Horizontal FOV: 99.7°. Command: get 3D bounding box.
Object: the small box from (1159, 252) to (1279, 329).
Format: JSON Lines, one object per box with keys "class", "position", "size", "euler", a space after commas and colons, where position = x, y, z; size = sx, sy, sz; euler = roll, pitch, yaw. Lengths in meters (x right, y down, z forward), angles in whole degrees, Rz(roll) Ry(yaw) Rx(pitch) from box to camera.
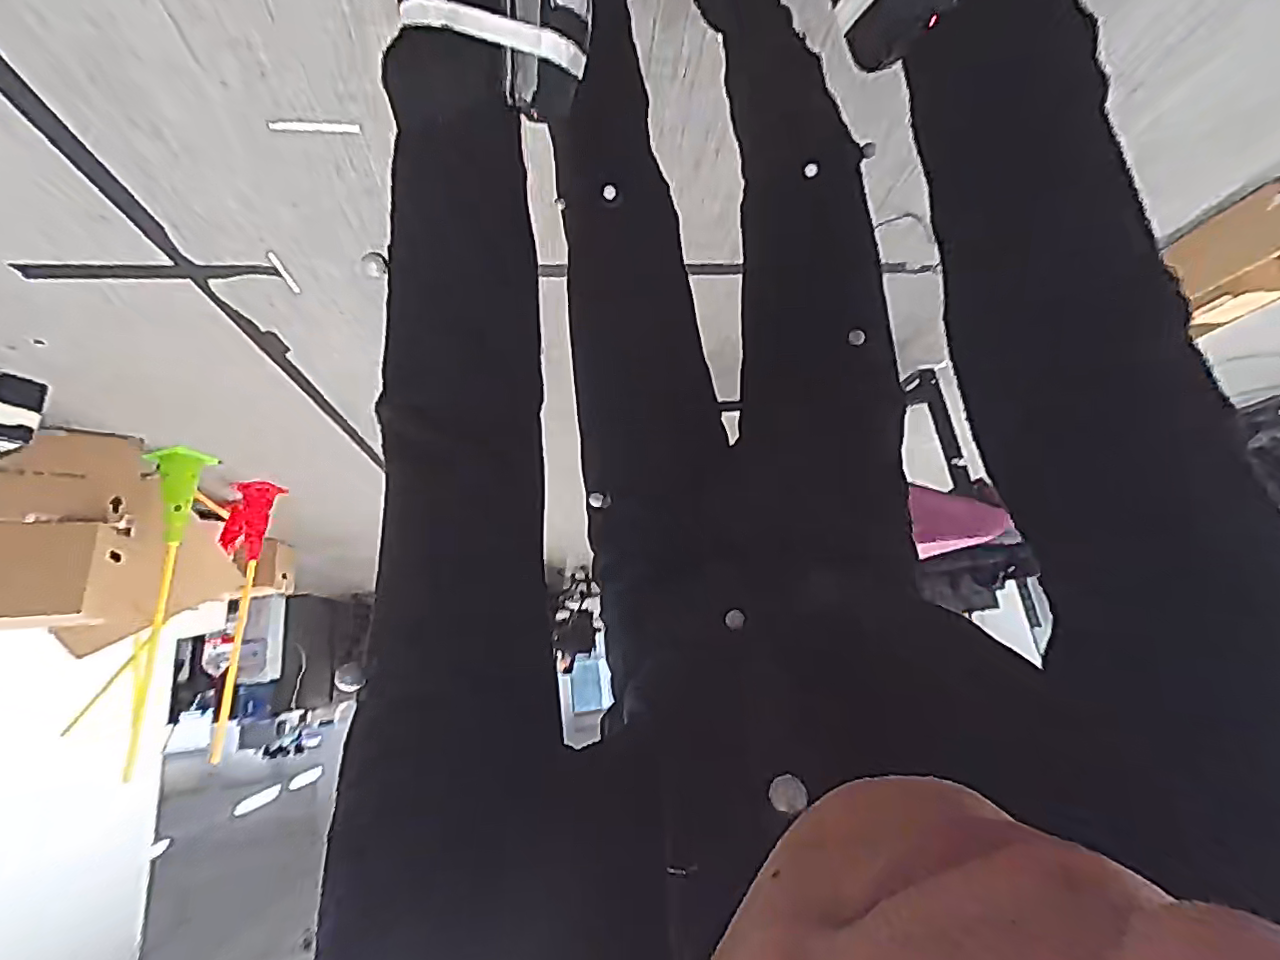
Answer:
{"class": "small box", "position": [1.793, -0.591, 1.686], "size": [0.179, 0.176, 0.168], "euler": [-4, 164, -11]}
